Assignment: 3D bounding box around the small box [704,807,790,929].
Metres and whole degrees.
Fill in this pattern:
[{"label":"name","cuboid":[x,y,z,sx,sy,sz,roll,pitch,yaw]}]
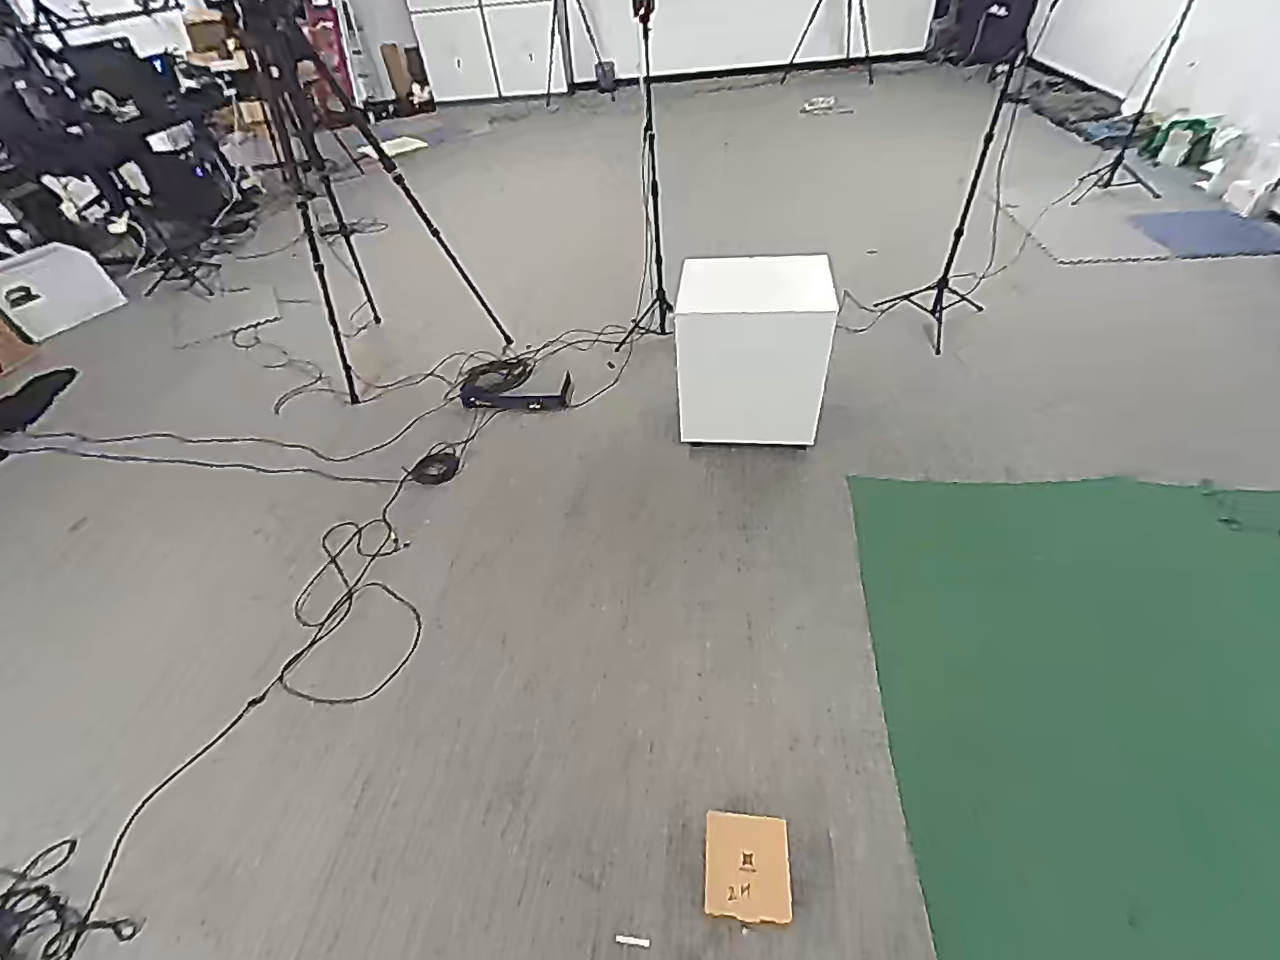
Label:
[{"label":"small box","cuboid":[0.222,0.823,1.148,0.168,0.176,0.179,1,47,9]}]
